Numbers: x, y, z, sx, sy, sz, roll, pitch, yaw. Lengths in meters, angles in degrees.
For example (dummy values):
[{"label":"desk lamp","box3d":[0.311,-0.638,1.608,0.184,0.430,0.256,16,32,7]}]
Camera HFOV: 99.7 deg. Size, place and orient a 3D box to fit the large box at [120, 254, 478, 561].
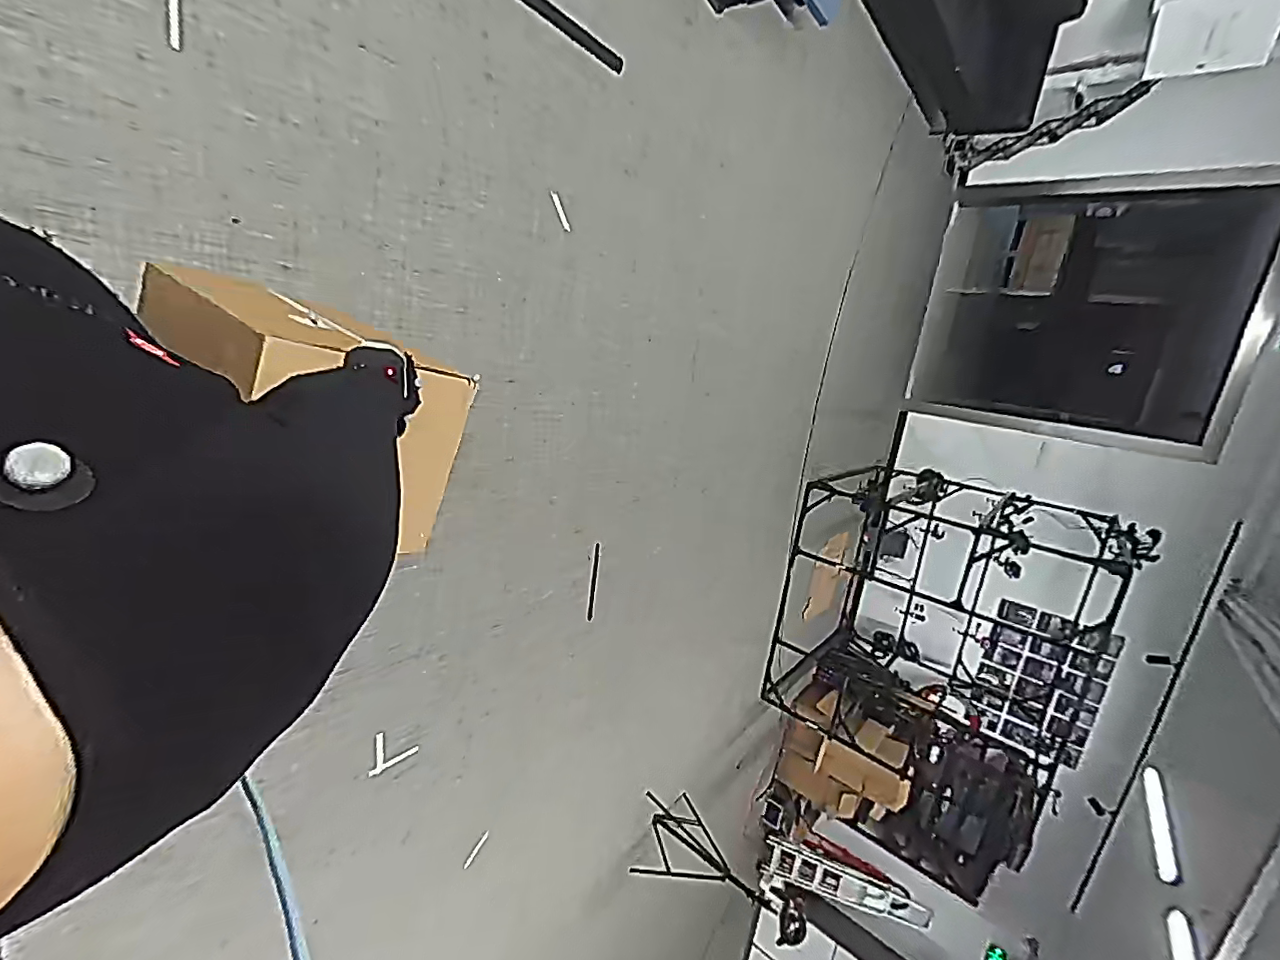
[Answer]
[{"label":"large box","box3d":[-0.553,-0.113,0.877,0.320,0.408,0.320,1,115,-59]}]
